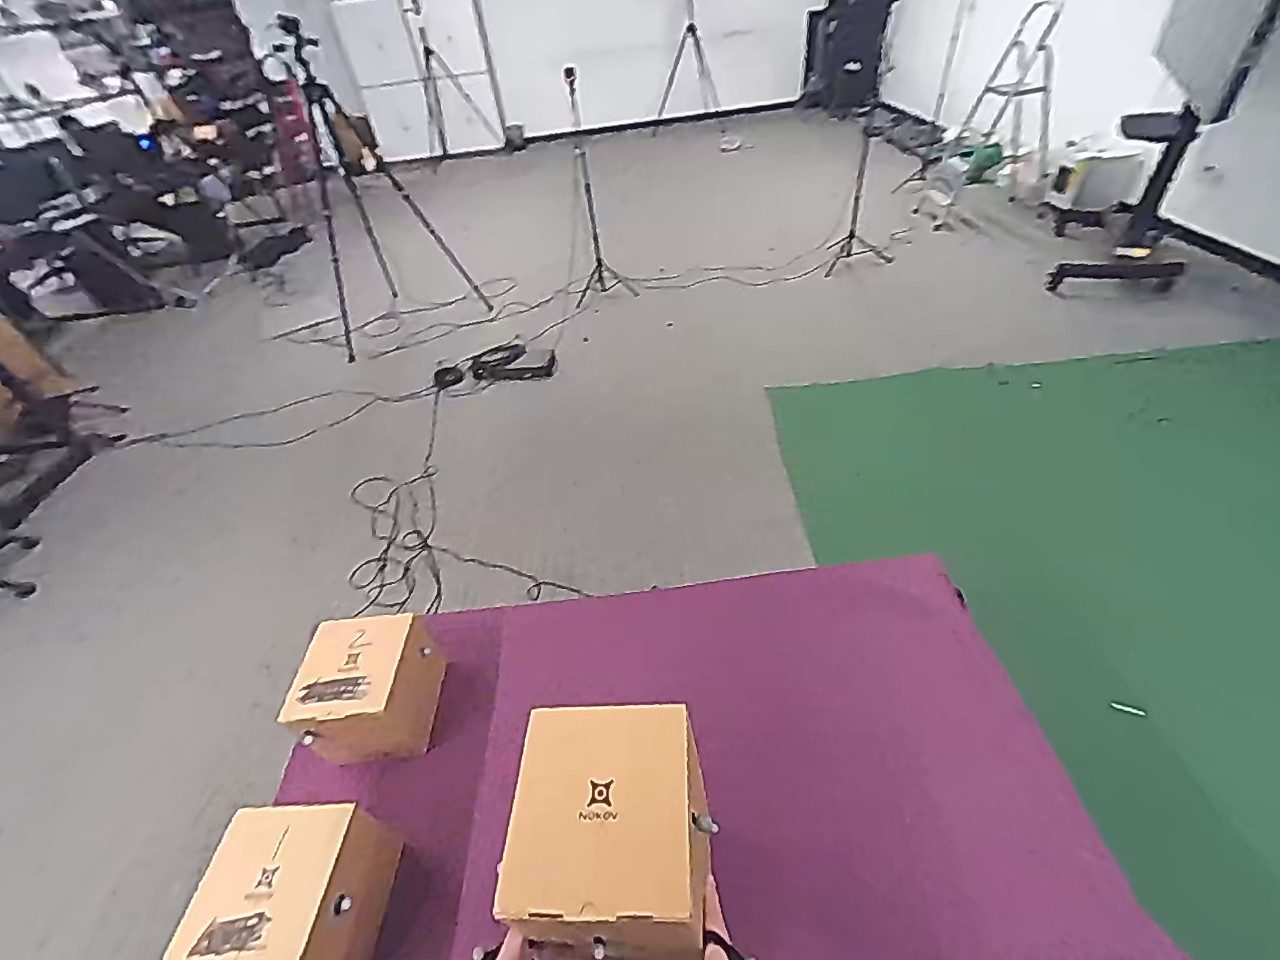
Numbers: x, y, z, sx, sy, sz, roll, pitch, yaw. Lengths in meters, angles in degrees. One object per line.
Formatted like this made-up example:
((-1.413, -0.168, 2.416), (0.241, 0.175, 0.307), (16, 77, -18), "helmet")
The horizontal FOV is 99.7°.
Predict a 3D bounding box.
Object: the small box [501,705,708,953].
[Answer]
((-0.020, 0.351, 0.548), (0.168, 0.176, 0.179), (-5, 43, 7), "small box")

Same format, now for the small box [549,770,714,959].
((0.002, 0.470, 0.655), (0.168, 0.176, 0.179), (-4, 43, 8), "small box")

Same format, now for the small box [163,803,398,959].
((-0.443, 0.545, 0.701), (0.168, 0.176, 0.179), (-4, 41, 3), "small box")
